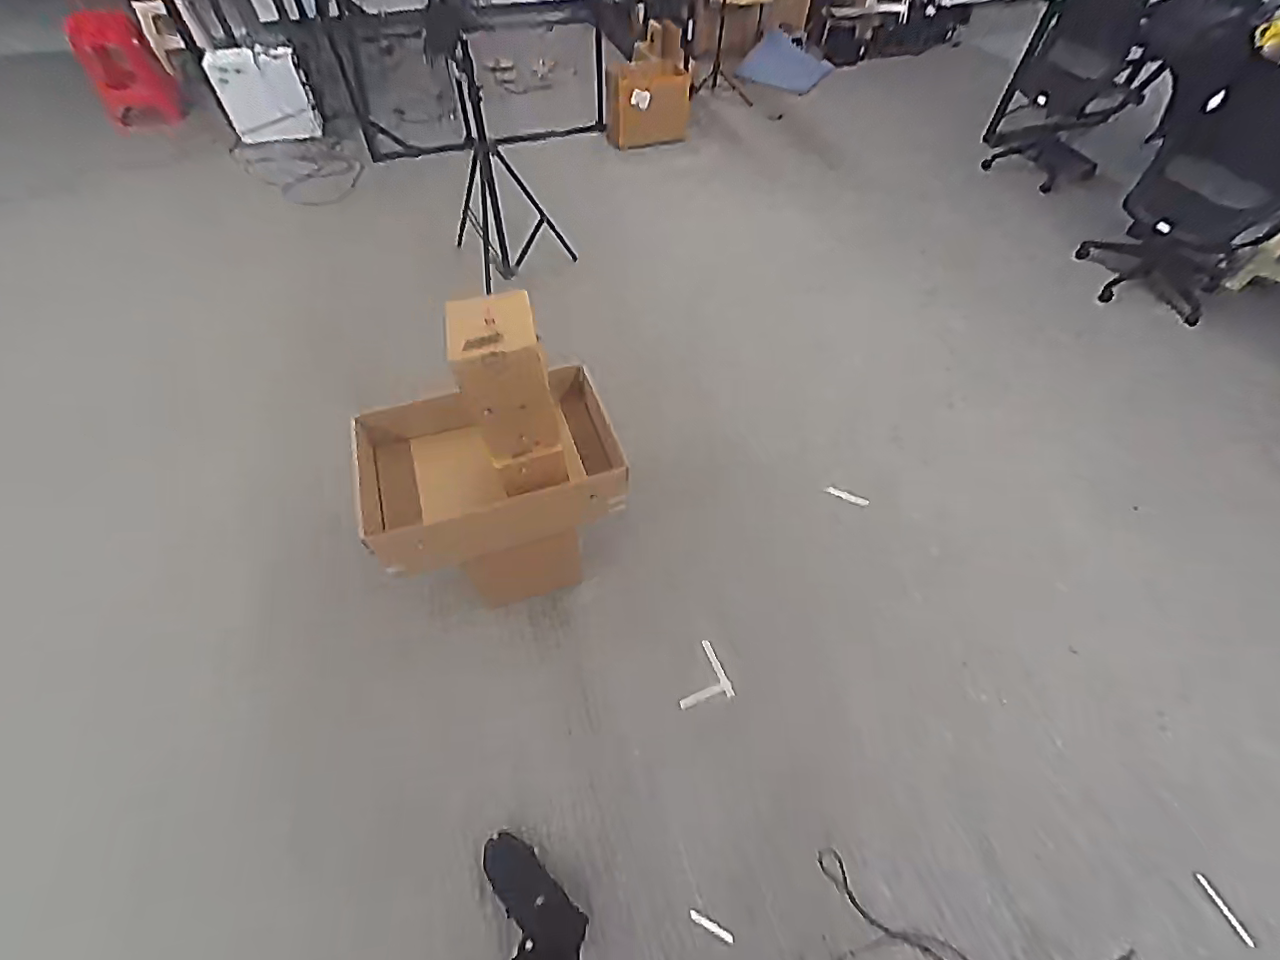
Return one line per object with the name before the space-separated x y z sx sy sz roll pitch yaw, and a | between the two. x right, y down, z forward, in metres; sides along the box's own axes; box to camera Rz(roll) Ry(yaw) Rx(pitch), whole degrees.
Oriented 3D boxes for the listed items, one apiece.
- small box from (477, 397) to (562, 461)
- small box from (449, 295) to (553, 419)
small box | -0.286 -0.172 1.246 0.168 0.176 0.179 -16 57 -9
small box | -0.277 -0.240 1.093 0.168 0.176 0.179 -11 56 -6
